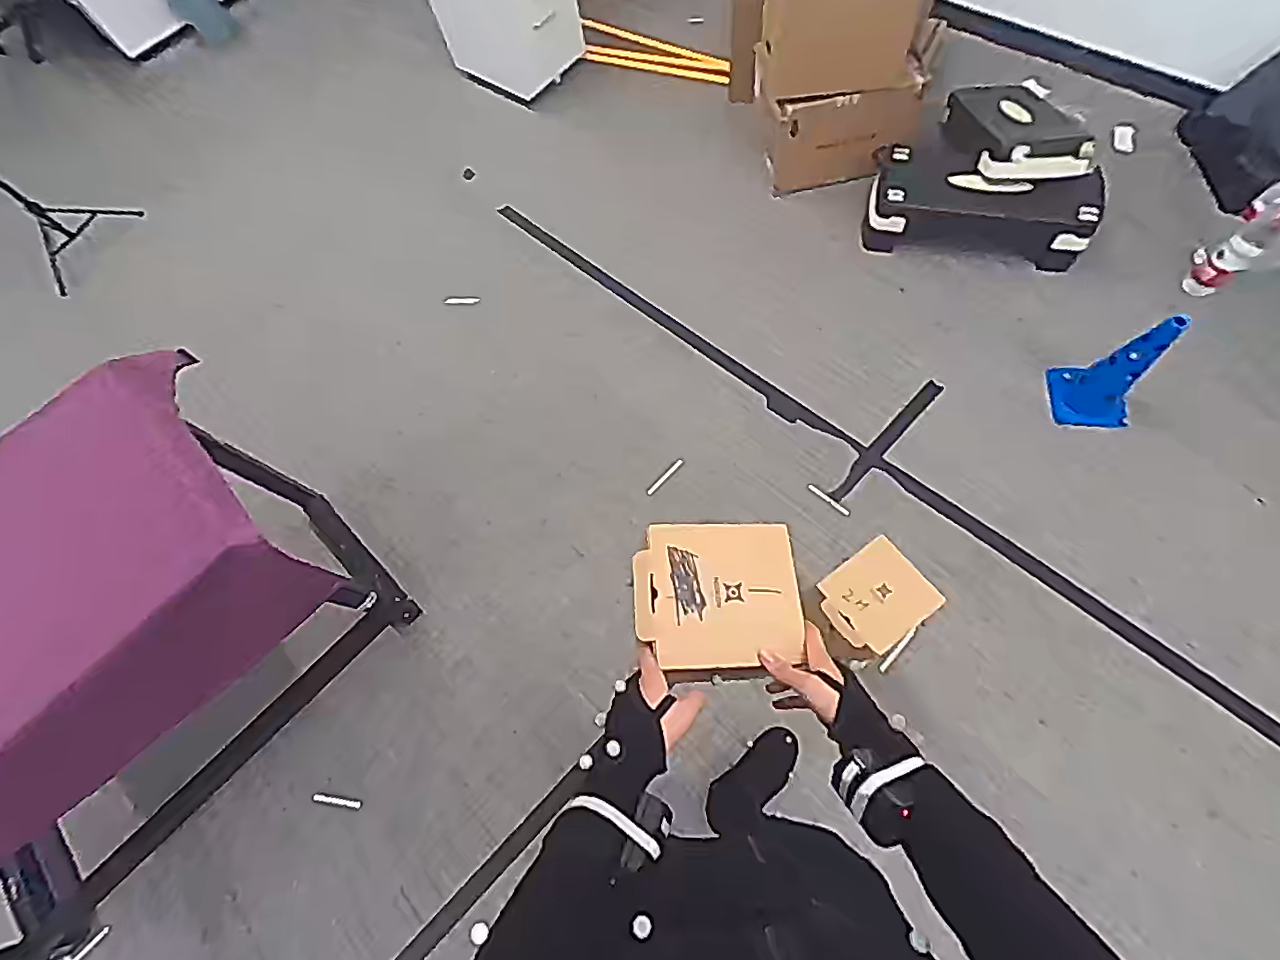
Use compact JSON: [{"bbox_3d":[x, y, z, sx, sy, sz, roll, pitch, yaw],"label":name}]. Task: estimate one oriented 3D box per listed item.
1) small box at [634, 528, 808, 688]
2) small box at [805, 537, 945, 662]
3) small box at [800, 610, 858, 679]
[{"bbox_3d":[0.086,0.167,0.685,0.179,0.176,0.168,0,65,-8],"label":"small box"},{"bbox_3d":[0.460,0.247,1.092,0.179,0.176,0.168,-35,68,-8],"label":"small box"},{"bbox_3d":[0.498,0.390,1.387,0.179,0.176,0.168,-41,69,-11],"label":"small box"}]
